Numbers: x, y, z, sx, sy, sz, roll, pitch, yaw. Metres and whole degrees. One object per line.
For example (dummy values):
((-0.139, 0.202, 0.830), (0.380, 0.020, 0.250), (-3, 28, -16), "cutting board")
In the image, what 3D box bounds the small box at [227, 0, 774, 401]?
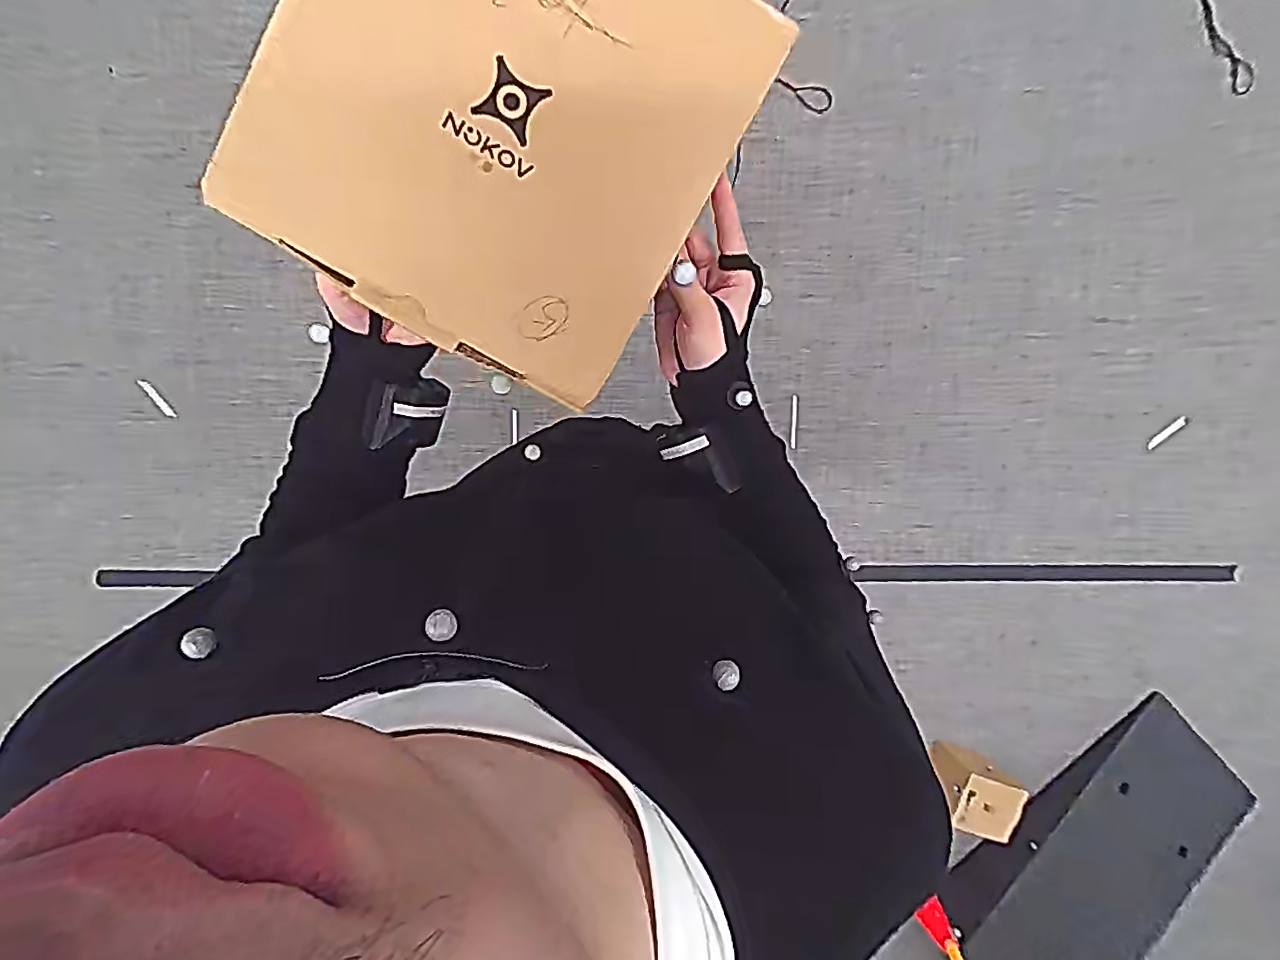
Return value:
((-0.062, -0.159, 0.297), (0.168, 0.176, 0.179), (28, 95, -11), "small box")
